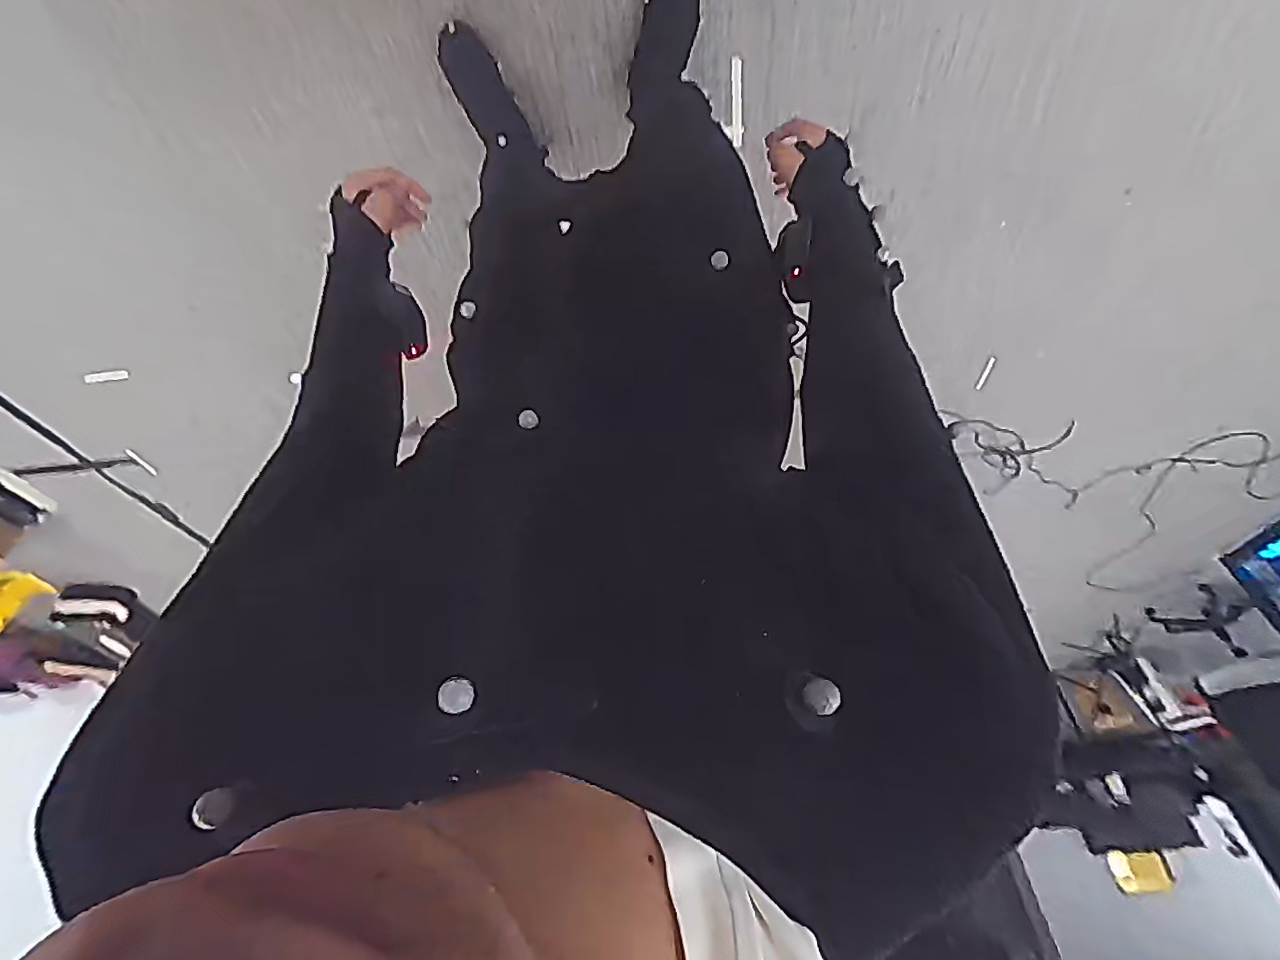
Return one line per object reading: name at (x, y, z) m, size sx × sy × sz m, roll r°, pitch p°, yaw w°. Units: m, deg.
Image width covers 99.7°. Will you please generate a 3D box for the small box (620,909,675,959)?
small box at (0.026, 1.577, 1.836) m, size 0.168 × 0.176 × 0.179 m, roll -7°, pitch 145°, yaw 4°
